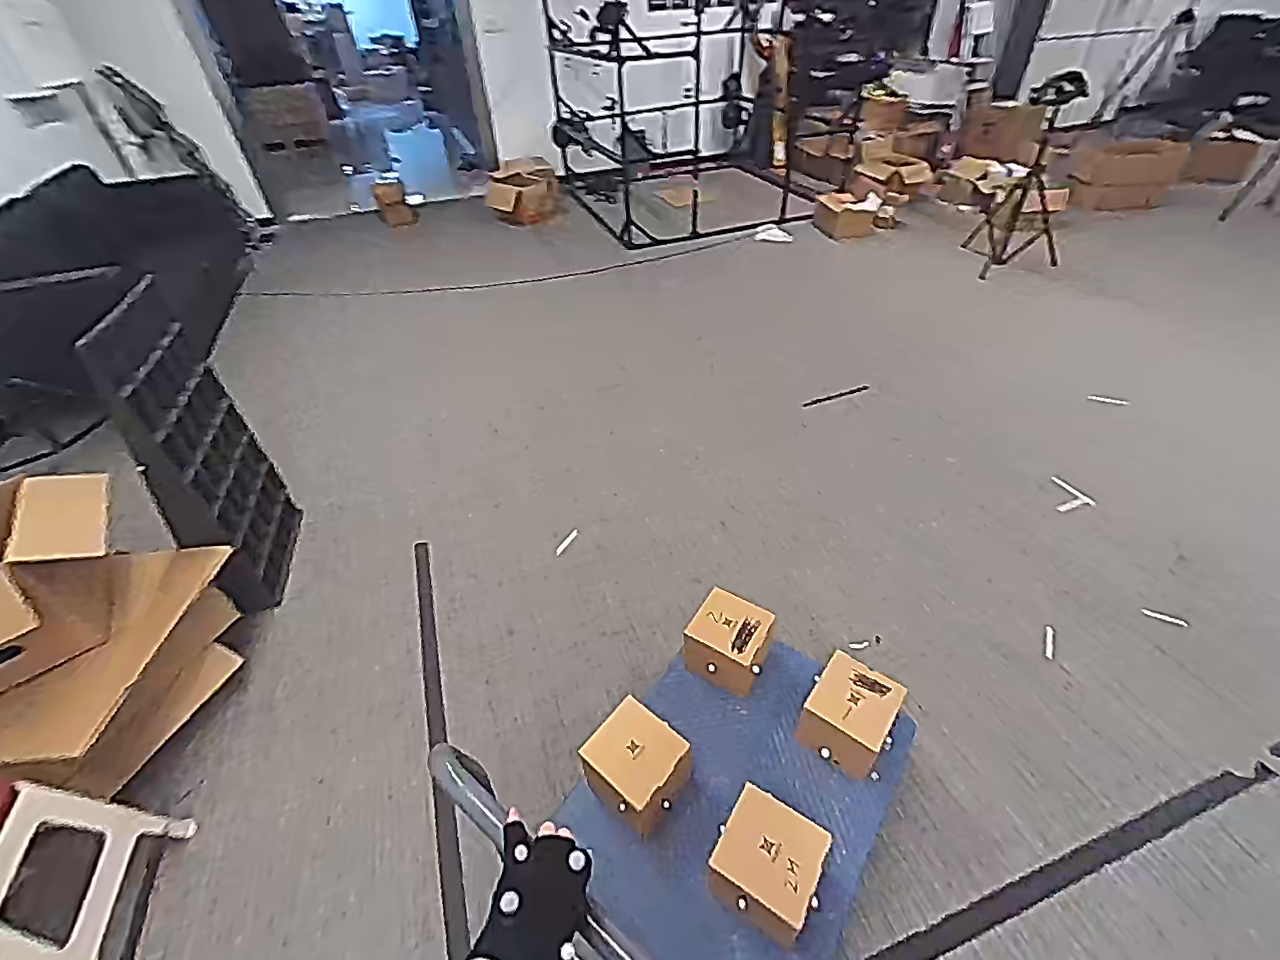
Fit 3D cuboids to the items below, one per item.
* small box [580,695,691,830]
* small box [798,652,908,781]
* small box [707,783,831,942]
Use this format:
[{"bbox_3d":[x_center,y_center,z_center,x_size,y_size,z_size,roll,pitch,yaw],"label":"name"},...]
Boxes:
[{"bbox_3d":[-0.009,0.618,1.178,0.179,0.176,0.168,29,50,30],"label":"small box"},{"bbox_3d":[0.477,0.539,1.233,0.168,0.176,0.179,27,51,30],"label":"small box"},{"bbox_3d":[0.239,0.730,1.031,0.179,0.176,0.168,23,48,27],"label":"small box"}]
